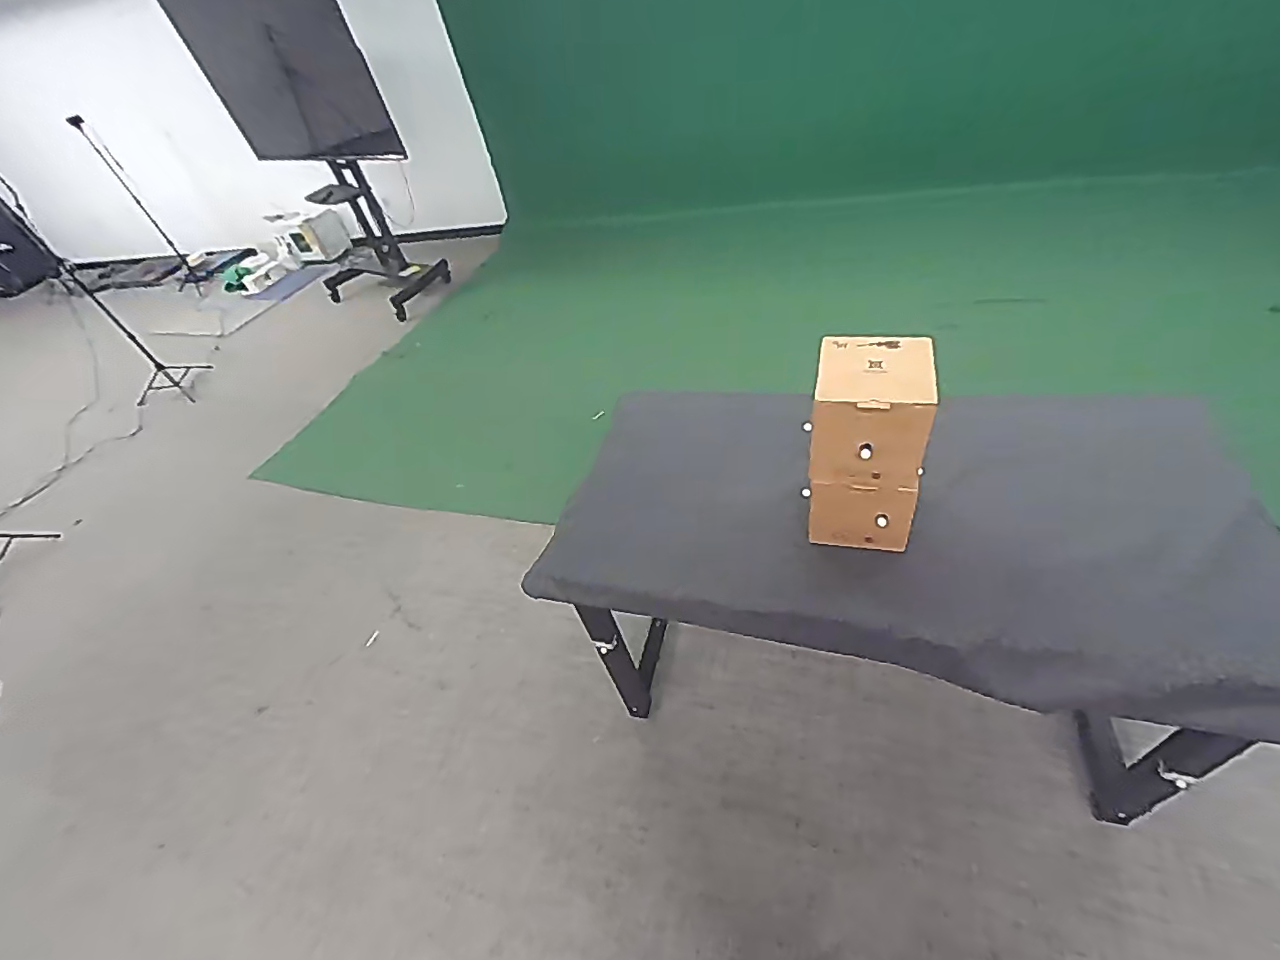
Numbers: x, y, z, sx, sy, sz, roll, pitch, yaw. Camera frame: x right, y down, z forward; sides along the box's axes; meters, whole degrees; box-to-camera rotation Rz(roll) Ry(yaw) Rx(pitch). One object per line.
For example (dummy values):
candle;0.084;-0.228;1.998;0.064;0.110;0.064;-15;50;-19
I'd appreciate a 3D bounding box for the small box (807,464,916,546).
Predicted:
small box;0.401;0.001;0.995;0.168;0.176;0.179;5;47;17

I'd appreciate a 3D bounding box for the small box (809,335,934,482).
small box;0.371;-0.116;0.884;0.168;0.176;0.179;7;49;18
